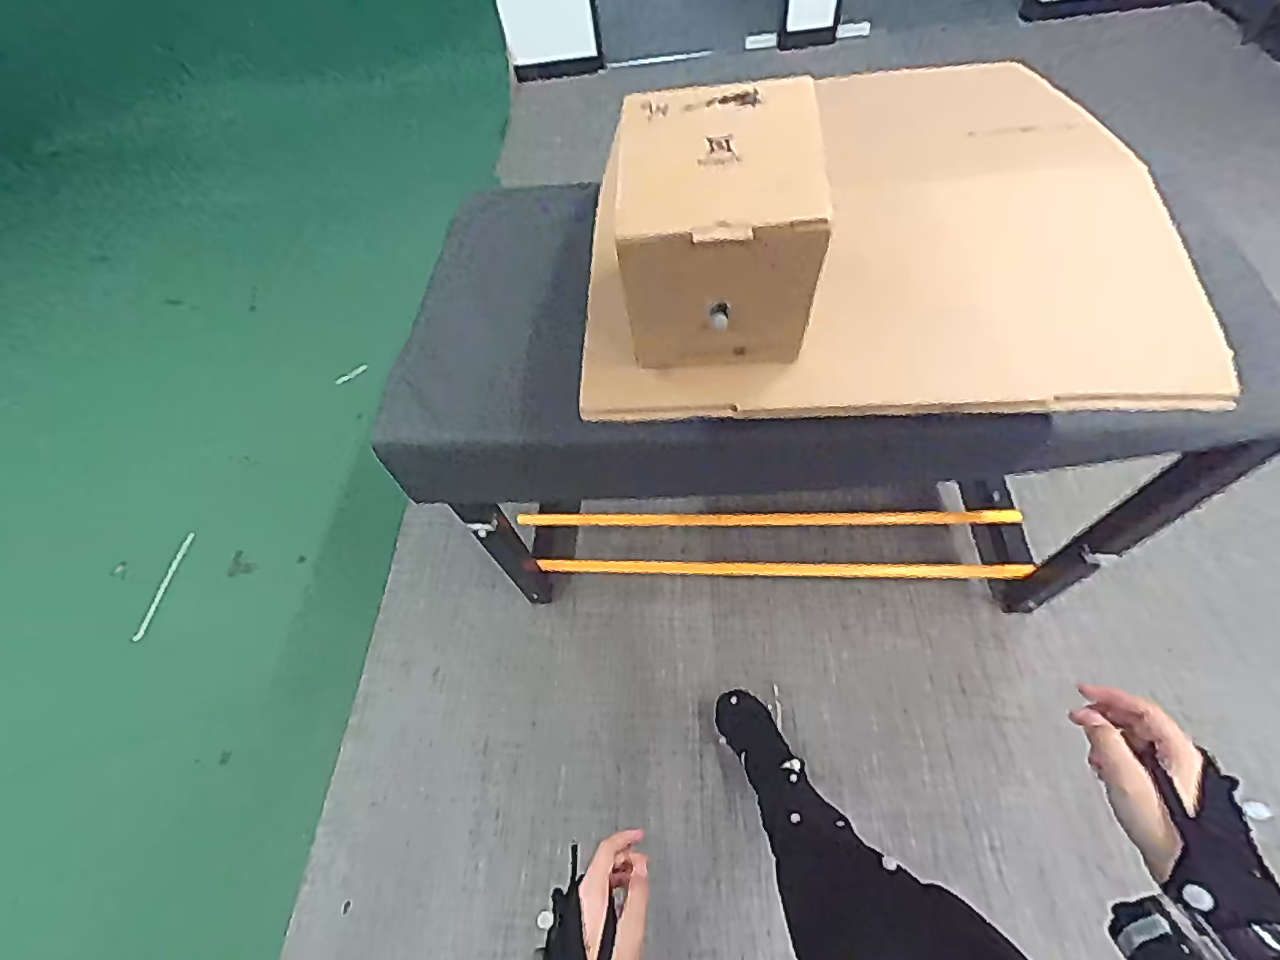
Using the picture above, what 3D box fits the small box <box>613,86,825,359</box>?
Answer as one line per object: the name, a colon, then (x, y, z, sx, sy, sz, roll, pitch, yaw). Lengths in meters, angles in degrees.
small box: (0.073, -0.229, 0.518, 0.168, 0.176, 0.179, -1, 67, 7)
